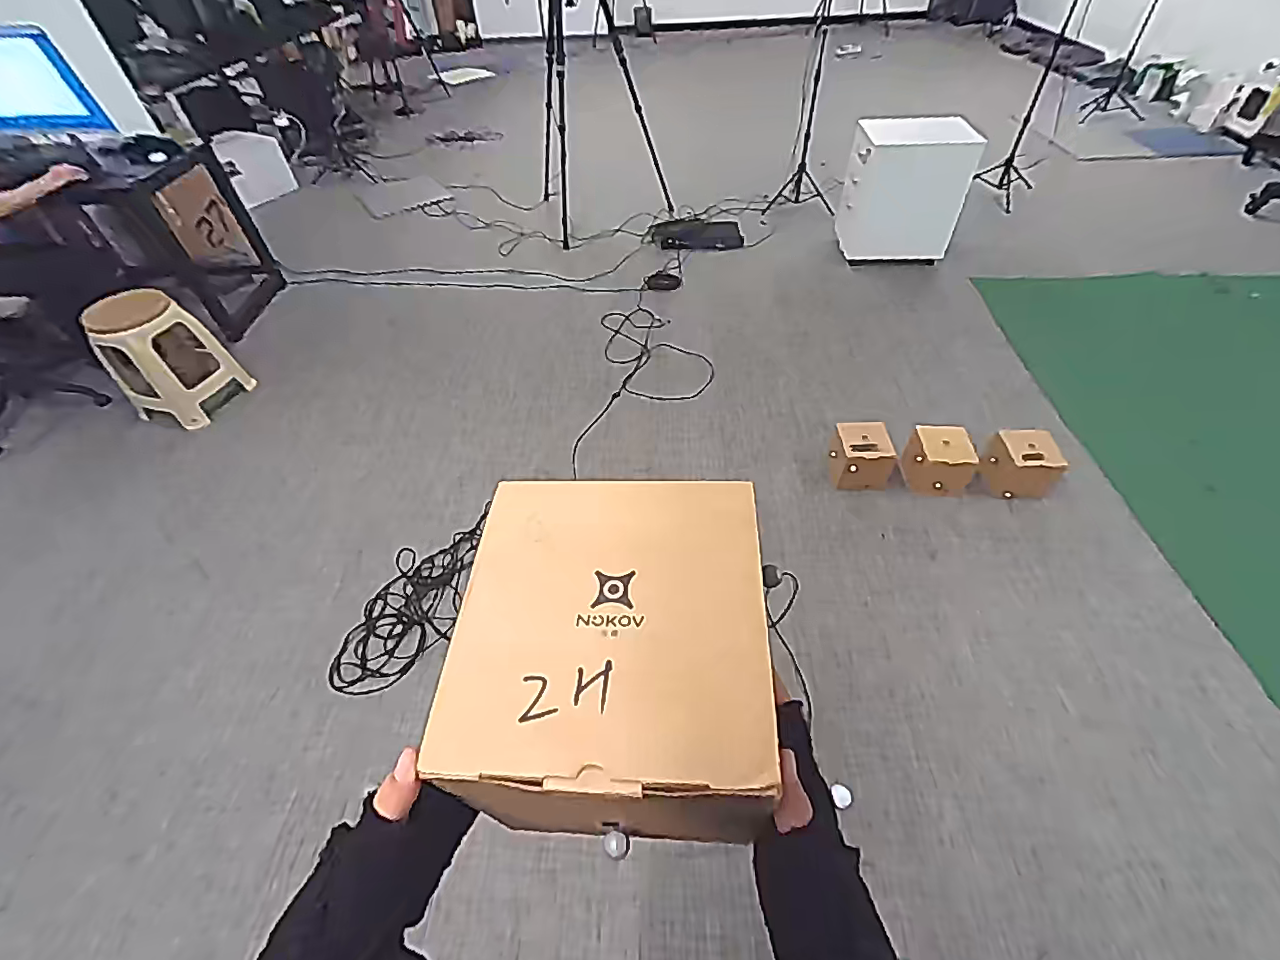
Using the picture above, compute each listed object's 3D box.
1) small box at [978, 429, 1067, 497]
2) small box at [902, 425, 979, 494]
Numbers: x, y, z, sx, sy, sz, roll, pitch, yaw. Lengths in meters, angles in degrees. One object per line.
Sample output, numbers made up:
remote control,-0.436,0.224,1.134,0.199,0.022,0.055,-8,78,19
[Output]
small box,1.306,-0.057,1.861,0.168,0.176,0.179,1,48,4
small box,1.038,-0.071,1.887,0.168,0.176,0.179,2,49,4
